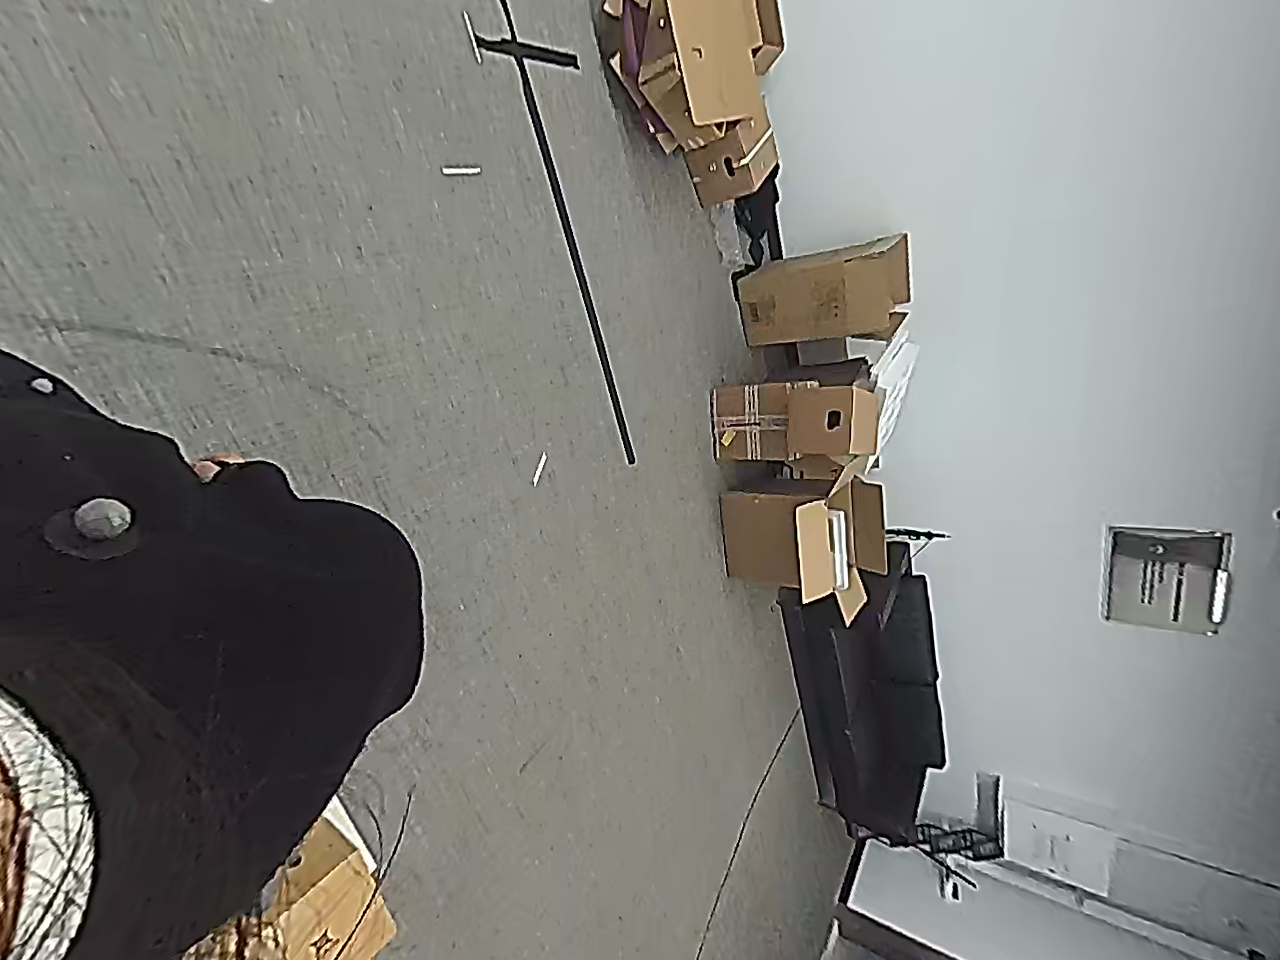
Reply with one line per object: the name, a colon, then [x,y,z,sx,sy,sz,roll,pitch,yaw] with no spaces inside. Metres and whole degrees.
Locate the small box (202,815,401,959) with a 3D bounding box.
small box: [-0.488,0.626,0.783,0.168,0.176,0.179,-31,116,-47]
